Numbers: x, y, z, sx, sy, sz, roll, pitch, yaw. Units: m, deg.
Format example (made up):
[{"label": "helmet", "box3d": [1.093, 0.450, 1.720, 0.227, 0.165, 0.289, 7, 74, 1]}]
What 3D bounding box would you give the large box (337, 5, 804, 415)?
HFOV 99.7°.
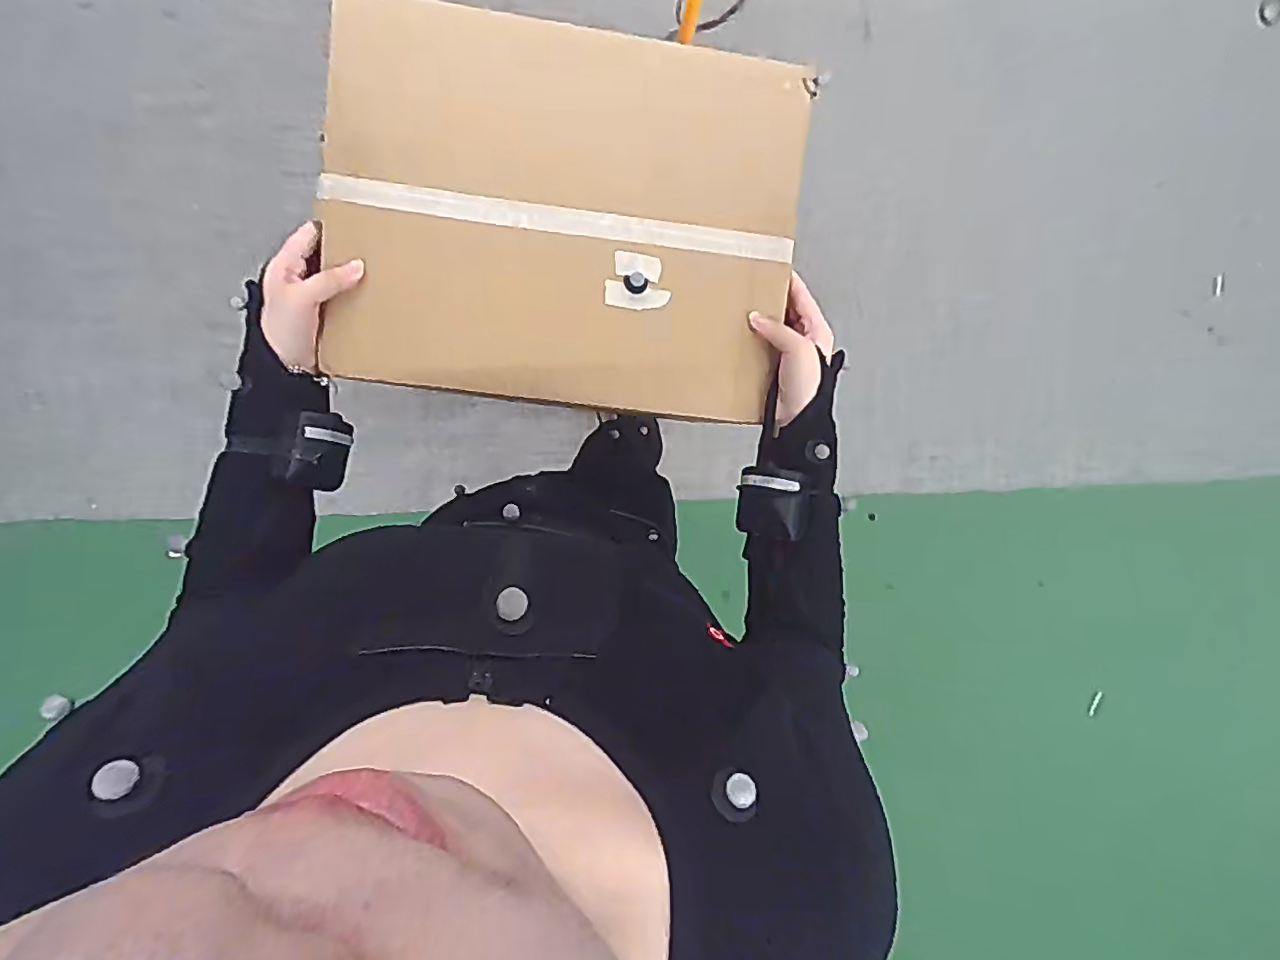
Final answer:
[{"label": "large box", "box3d": [-0.075, -0.247, 0.630, 0.408, 0.320, 0.320, 5, 96, -6]}]
